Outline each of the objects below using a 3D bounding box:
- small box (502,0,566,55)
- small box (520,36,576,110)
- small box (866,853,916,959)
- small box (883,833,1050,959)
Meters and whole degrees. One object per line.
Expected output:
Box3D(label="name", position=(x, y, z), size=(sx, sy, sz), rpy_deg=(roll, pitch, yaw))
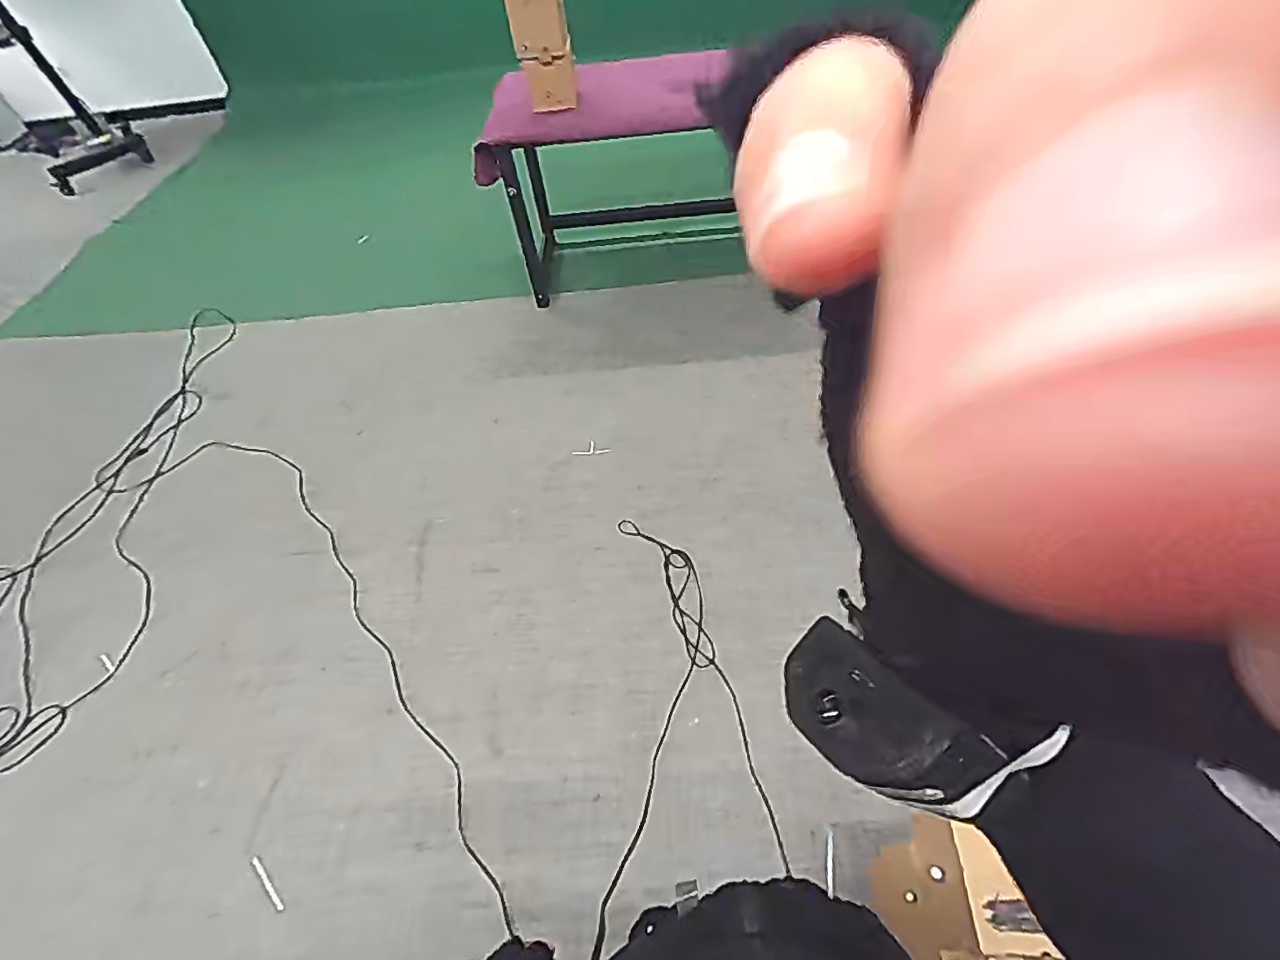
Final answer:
Box3D(label="small box", position=(-0.346, -1.543, 1.801), size=(0.168, 0.176, 0.179), rpy_deg=(-2, 53, 3))
Box3D(label="small box", position=(-0.325, -1.459, 1.941), size=(0.168, 0.176, 0.179), rpy_deg=(-6, 54, 1))
Box3D(label="small box", position=(0.560, 0.836, 1.052), size=(0.168, 0.176, 0.179), rpy_deg=(-1, 53, 3))
Box3D(label="small box", position=(0.544, 0.724, 0.932), size=(0.168, 0.176, 0.179), rpy_deg=(-5, 53, 2))
